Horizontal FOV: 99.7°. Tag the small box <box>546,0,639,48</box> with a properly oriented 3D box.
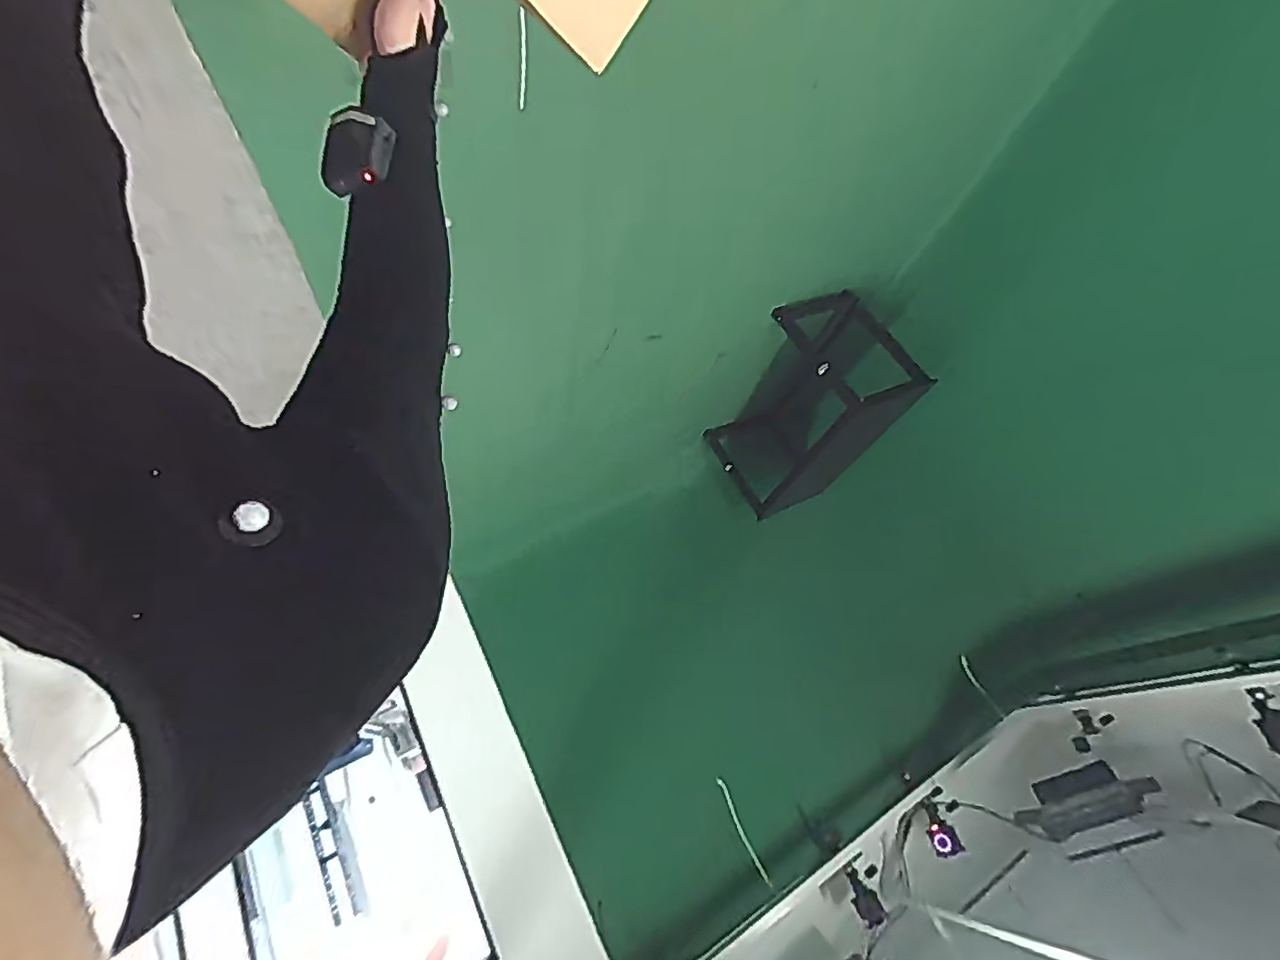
[{"bbox_3d":[-0.059,-0.356,0.232,0.168,0.176,0.179,-45,155,24],"label":"small box"}]
